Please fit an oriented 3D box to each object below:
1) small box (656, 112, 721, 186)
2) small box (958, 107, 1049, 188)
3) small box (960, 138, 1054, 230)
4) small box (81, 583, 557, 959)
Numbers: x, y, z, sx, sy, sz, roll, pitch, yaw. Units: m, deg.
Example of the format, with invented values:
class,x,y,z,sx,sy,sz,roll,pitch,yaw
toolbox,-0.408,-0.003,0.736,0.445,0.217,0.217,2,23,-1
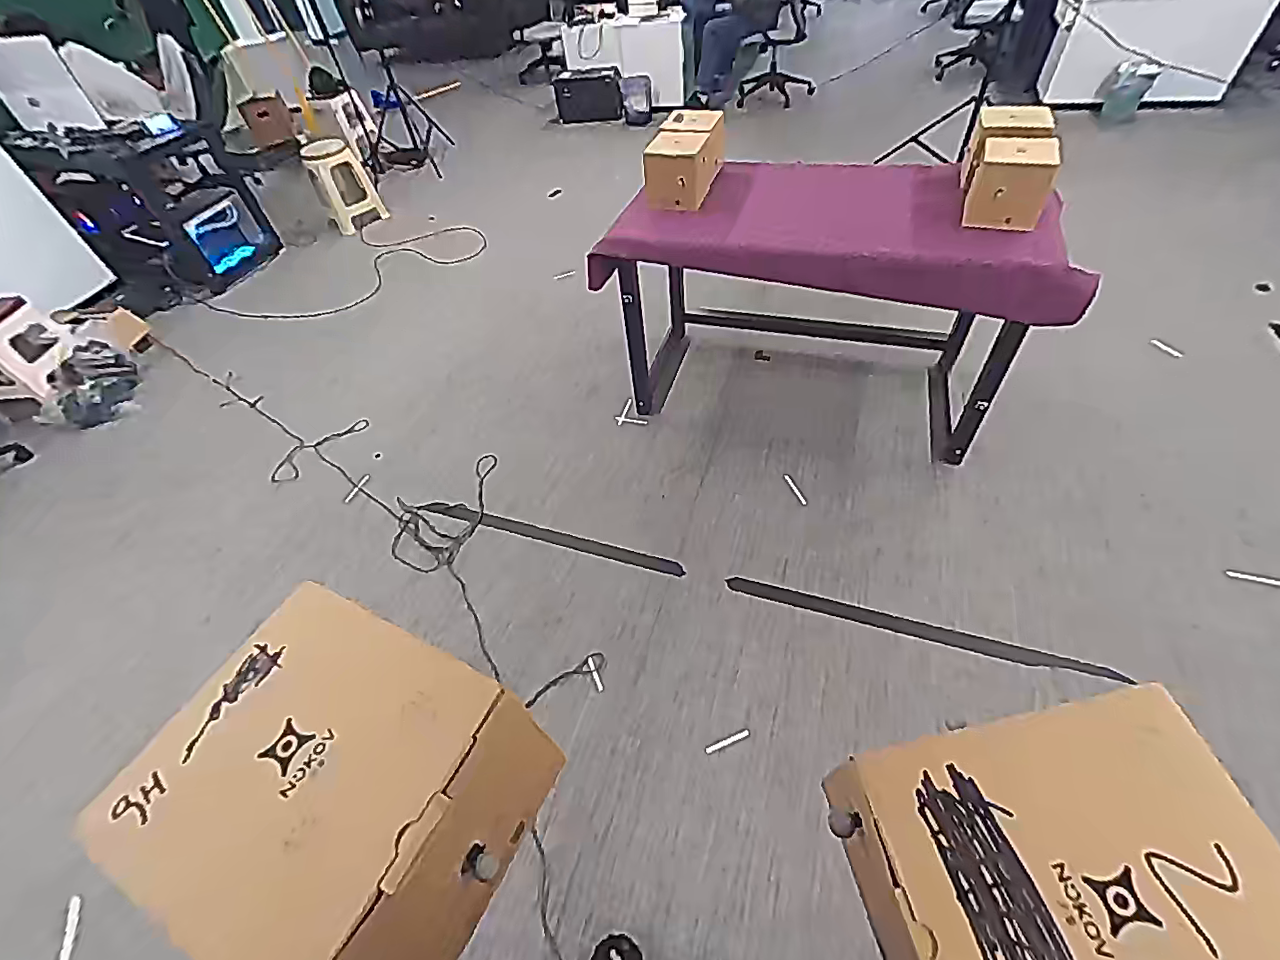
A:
class,x,y,z,sx,sy,sz,roll,pitch,yaw
small box,0.165,-1.109,1.811,0.179,0.176,0.168,14,55,16
small box,1.040,-0.955,1.564,0.179,0.176,0.168,12,53,16
small box,0.969,-0.785,1.437,0.168,0.176,0.179,15,52,20
small box,-0.177,0.203,0.361,0.179,0.176,0.168,19,56,20
